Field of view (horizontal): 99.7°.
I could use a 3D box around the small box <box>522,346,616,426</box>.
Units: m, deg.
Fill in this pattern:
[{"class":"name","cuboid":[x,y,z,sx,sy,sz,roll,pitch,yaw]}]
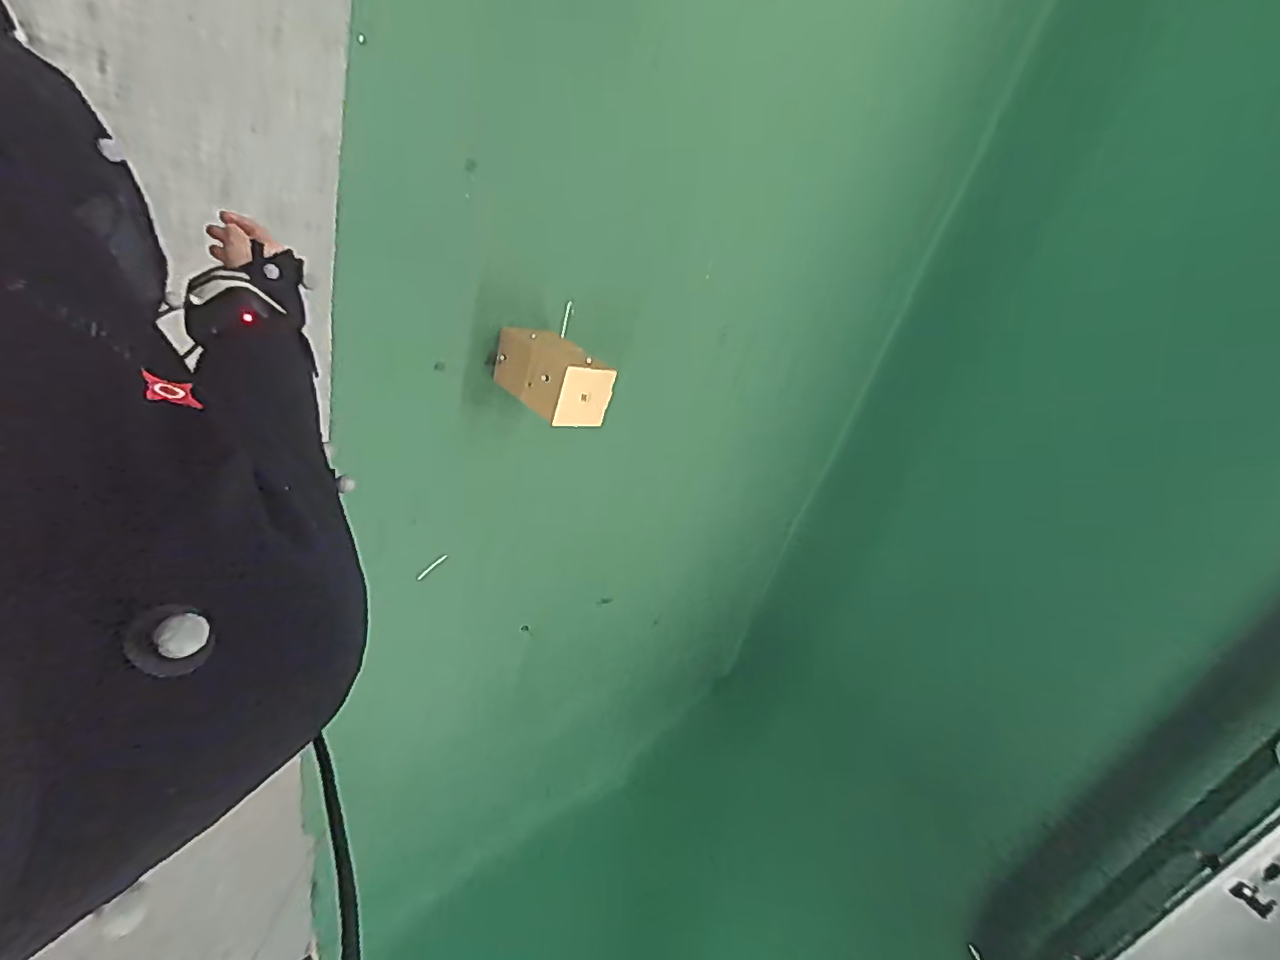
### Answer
[{"class":"small box","cuboid":[-0.200,-0.258,1.482,0.179,0.176,0.168,-6,123,-46]}]
